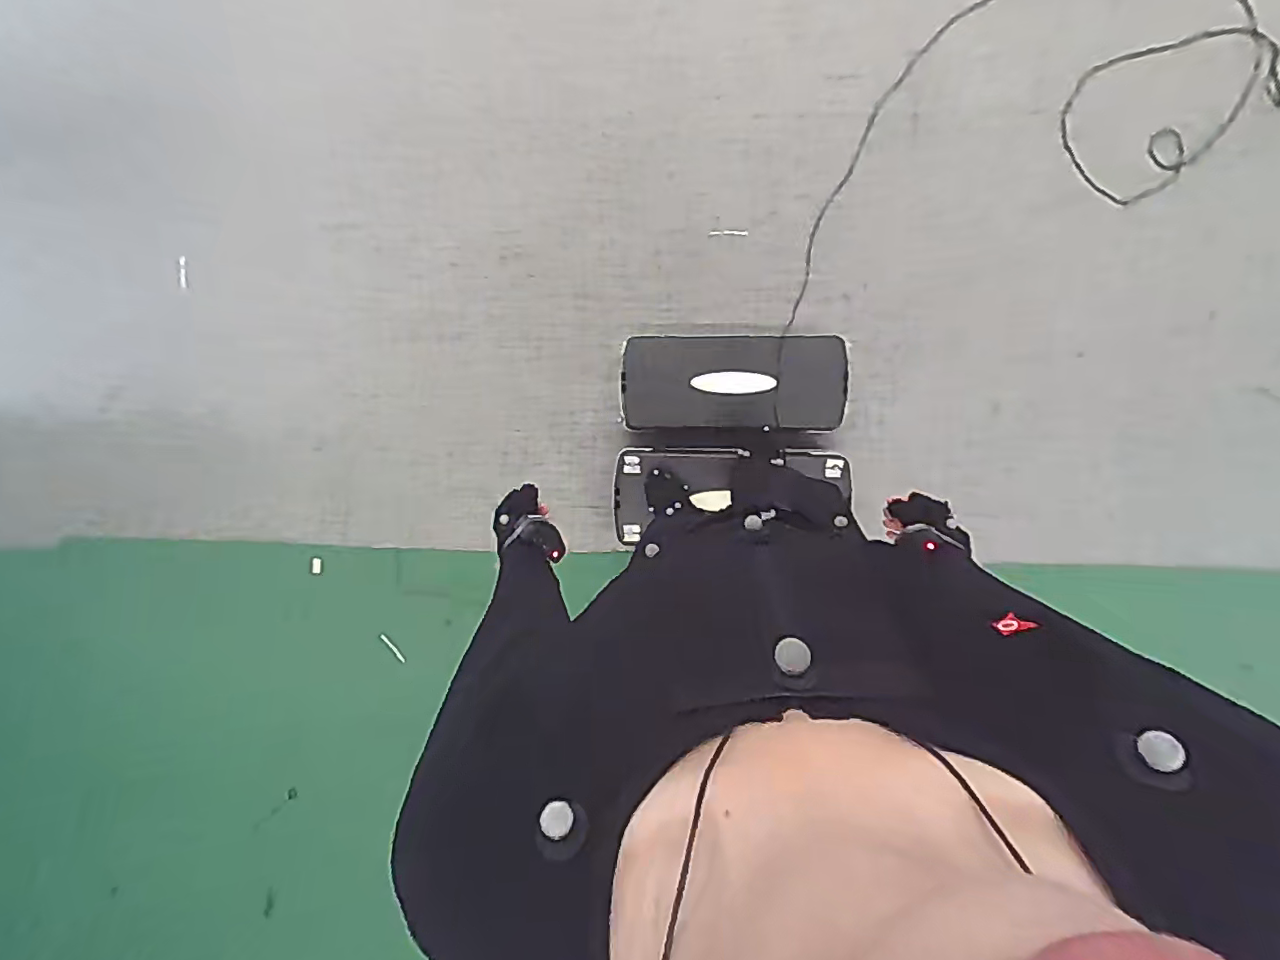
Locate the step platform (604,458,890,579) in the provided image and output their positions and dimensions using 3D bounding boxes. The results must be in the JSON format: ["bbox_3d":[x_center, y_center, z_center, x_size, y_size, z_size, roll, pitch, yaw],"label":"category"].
[{"bbox_3d":[0.257,0.088,1.387,0.684,0.204,0.286,1,93,2],"label":"step platform"}]
